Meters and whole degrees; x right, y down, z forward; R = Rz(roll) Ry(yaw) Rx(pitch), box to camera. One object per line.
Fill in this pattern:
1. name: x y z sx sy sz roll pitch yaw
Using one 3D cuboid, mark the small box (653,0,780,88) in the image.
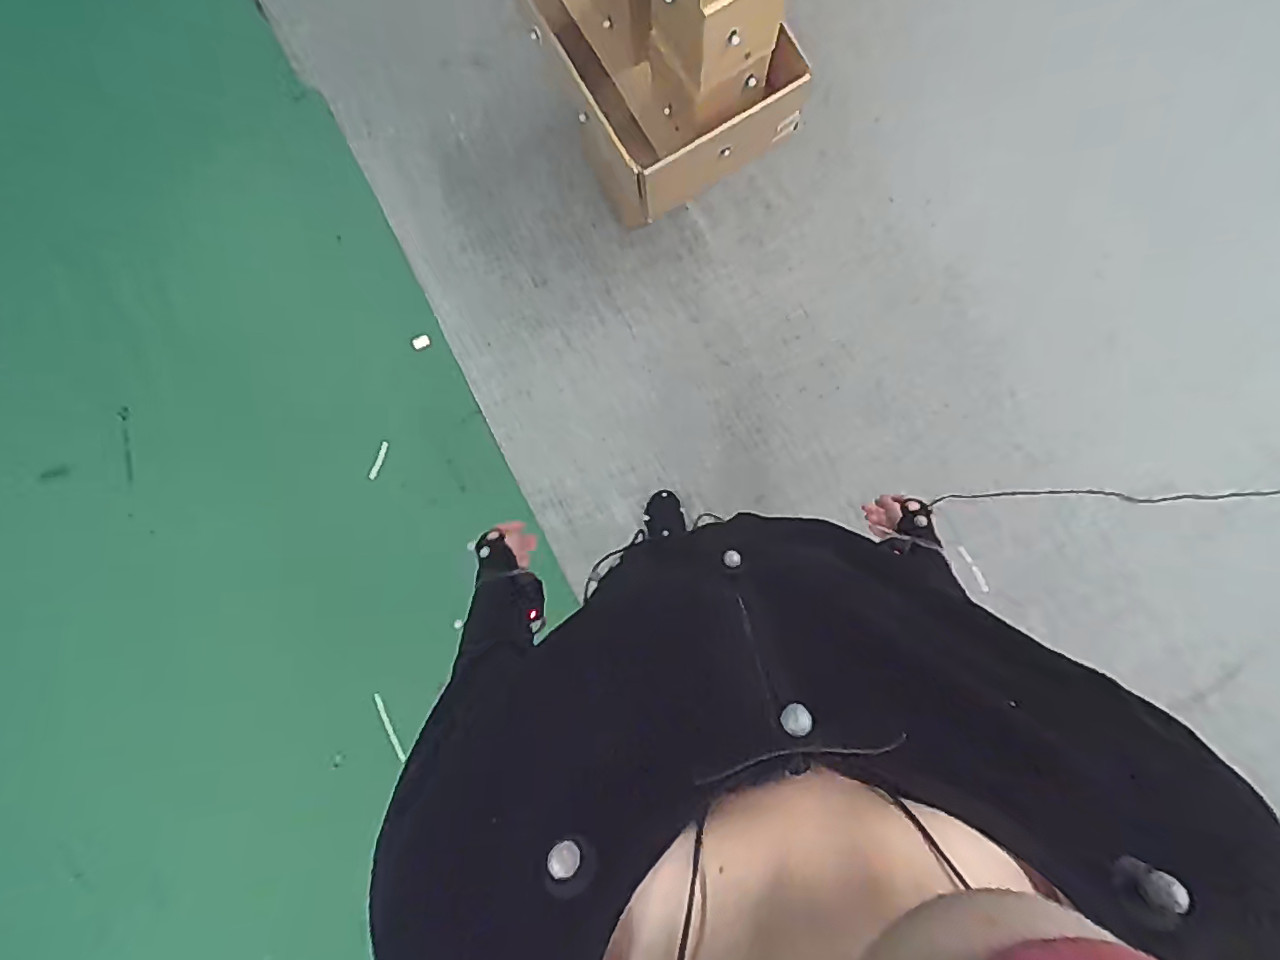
1. small box: 0.132 -0.831 0.935 0.168 0.176 0.179 -31 85 1
